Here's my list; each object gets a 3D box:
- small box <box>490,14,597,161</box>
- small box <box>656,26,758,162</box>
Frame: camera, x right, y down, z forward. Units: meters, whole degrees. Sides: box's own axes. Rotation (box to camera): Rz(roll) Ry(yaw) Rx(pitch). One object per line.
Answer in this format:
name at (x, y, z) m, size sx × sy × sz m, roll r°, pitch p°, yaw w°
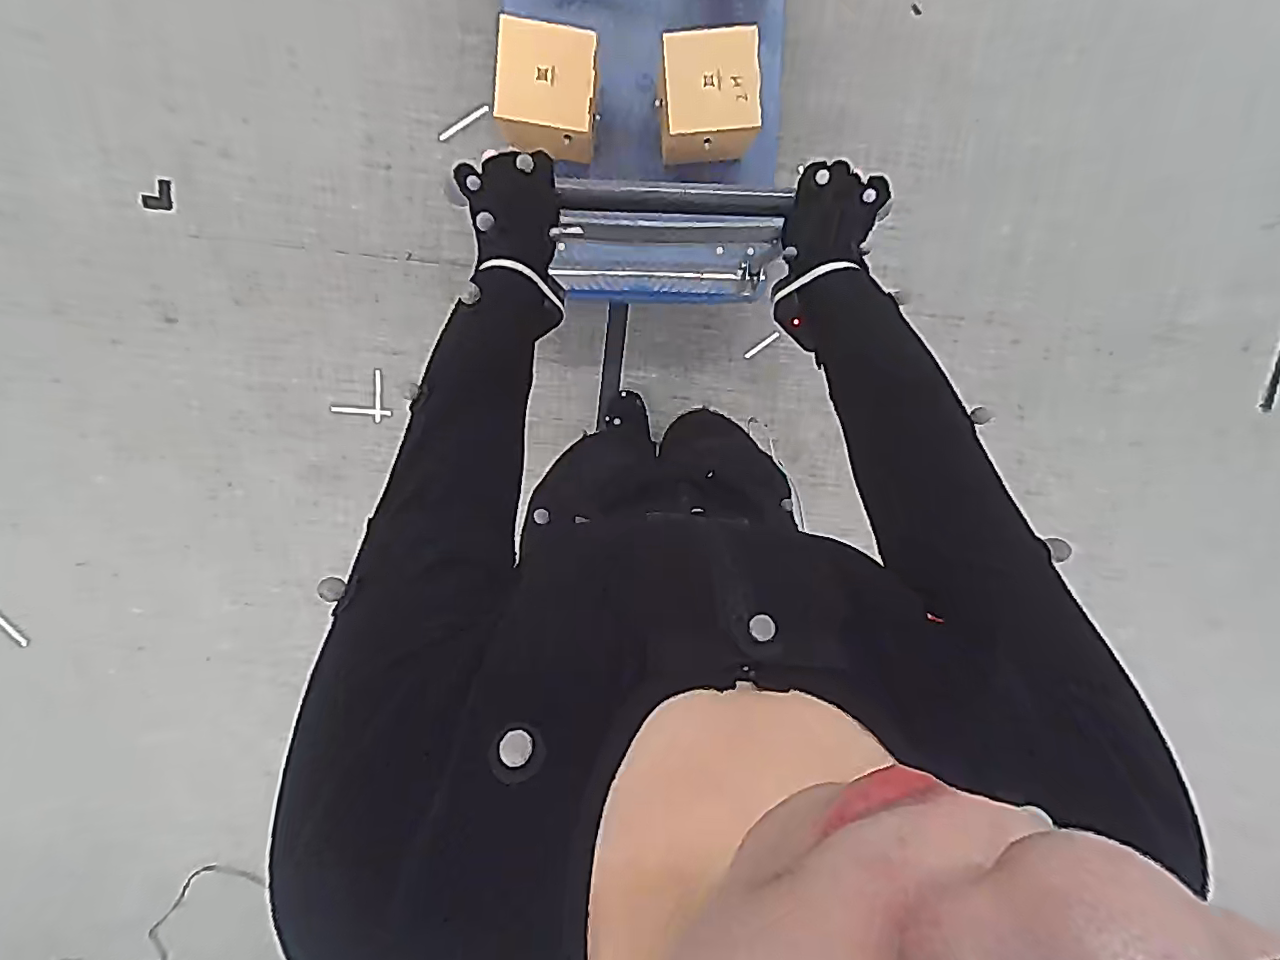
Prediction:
small box at (-0.181, -0.745, 1.047) m, size 0.179 × 0.176 × 0.168 m, roll 6°, pitch 102°, yaw -5°
small box at (0.124, -0.744, 1.060) m, size 0.179 × 0.176 × 0.168 m, roll -5°, pitch 103°, yaw -1°
